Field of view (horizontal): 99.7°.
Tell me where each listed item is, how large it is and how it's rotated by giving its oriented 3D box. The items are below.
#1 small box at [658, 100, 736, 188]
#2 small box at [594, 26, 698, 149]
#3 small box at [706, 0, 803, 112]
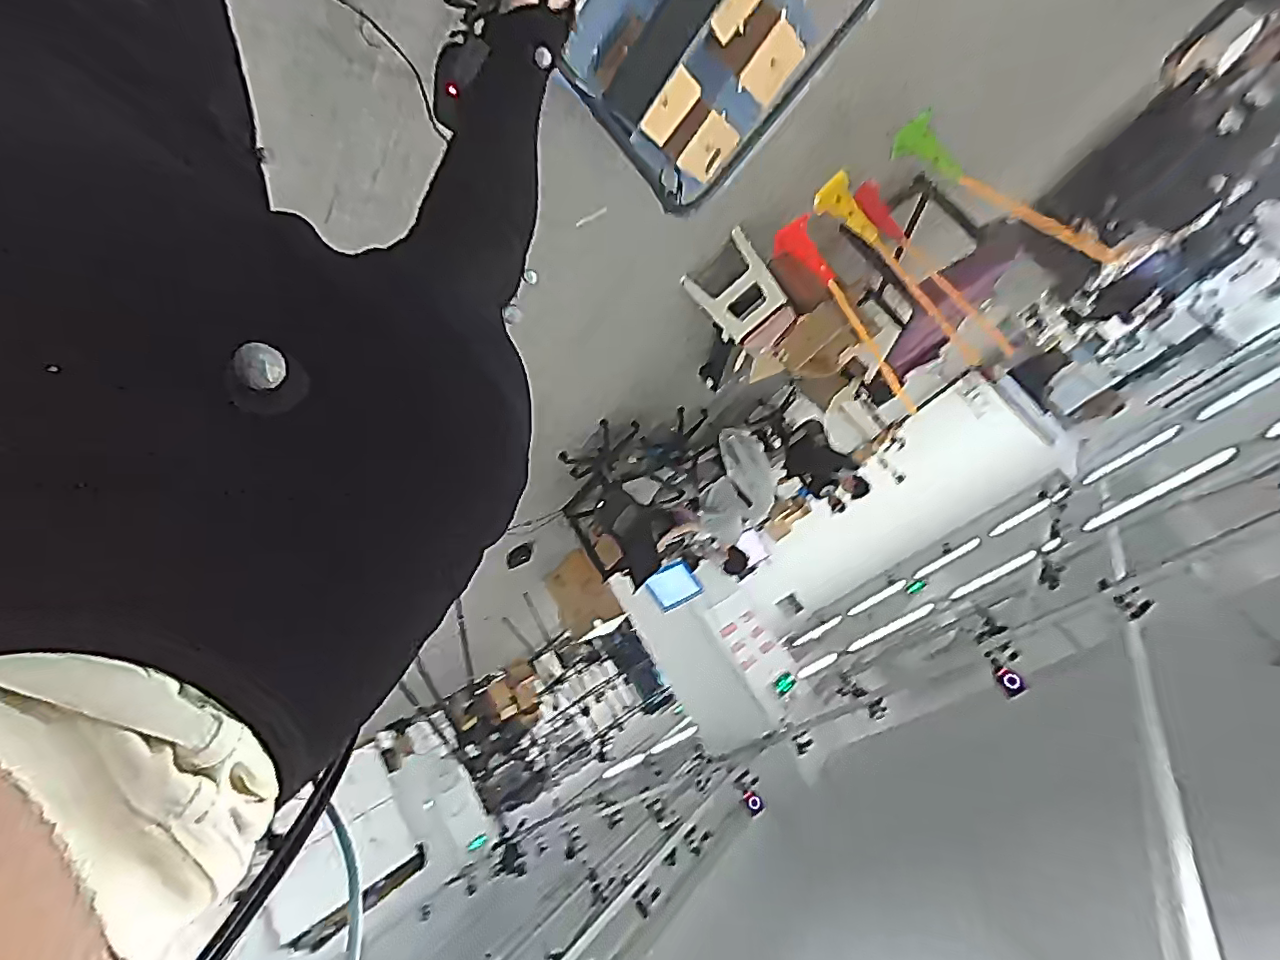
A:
[{"bbox_3d":[0.154,-1.038,1.638,0.168,0.176,0.179,-45,159,30],"label":"small box"},{"bbox_3d":[0.016,-1.030,1.421,0.168,0.176,0.179,-42,160,27],"label":"small box"},{"bbox_3d":[0.316,-1.192,1.512,0.168,0.176,0.179,-44,160,32],"label":"small box"}]
